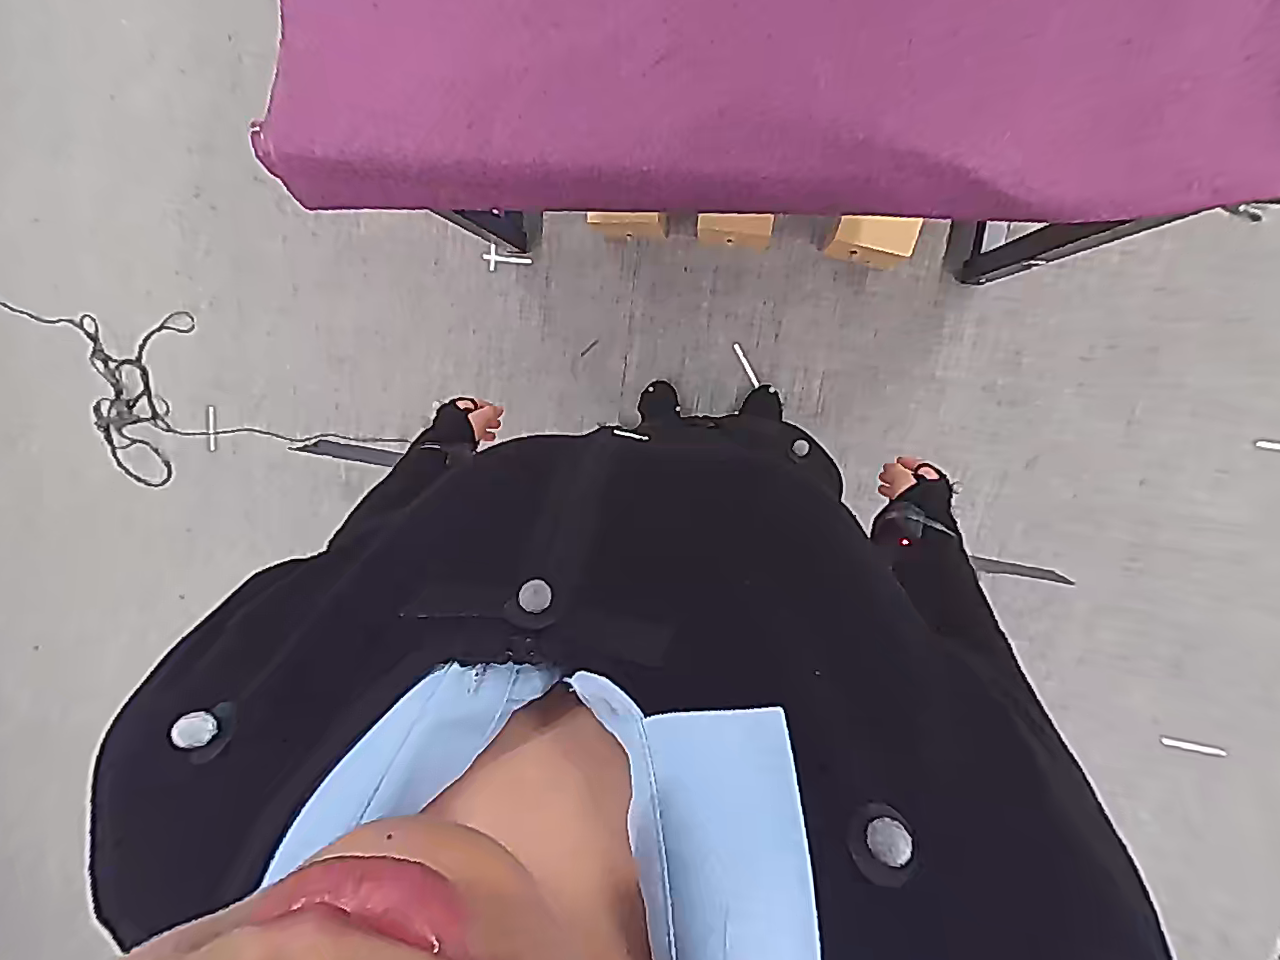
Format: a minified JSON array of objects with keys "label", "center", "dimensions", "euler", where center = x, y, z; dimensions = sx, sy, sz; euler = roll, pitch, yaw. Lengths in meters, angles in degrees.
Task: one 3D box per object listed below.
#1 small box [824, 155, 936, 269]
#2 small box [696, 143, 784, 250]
[{"label":"small box","center":[0.531,-0.596,1.227],"dimensions":[0.168,0.176,0.179],"euler":[17,103,5]},{"label":"small box","center":[0.229,-0.649,1.258],"dimensions":[0.168,0.176,0.179],"euler":[10,102,6]}]
